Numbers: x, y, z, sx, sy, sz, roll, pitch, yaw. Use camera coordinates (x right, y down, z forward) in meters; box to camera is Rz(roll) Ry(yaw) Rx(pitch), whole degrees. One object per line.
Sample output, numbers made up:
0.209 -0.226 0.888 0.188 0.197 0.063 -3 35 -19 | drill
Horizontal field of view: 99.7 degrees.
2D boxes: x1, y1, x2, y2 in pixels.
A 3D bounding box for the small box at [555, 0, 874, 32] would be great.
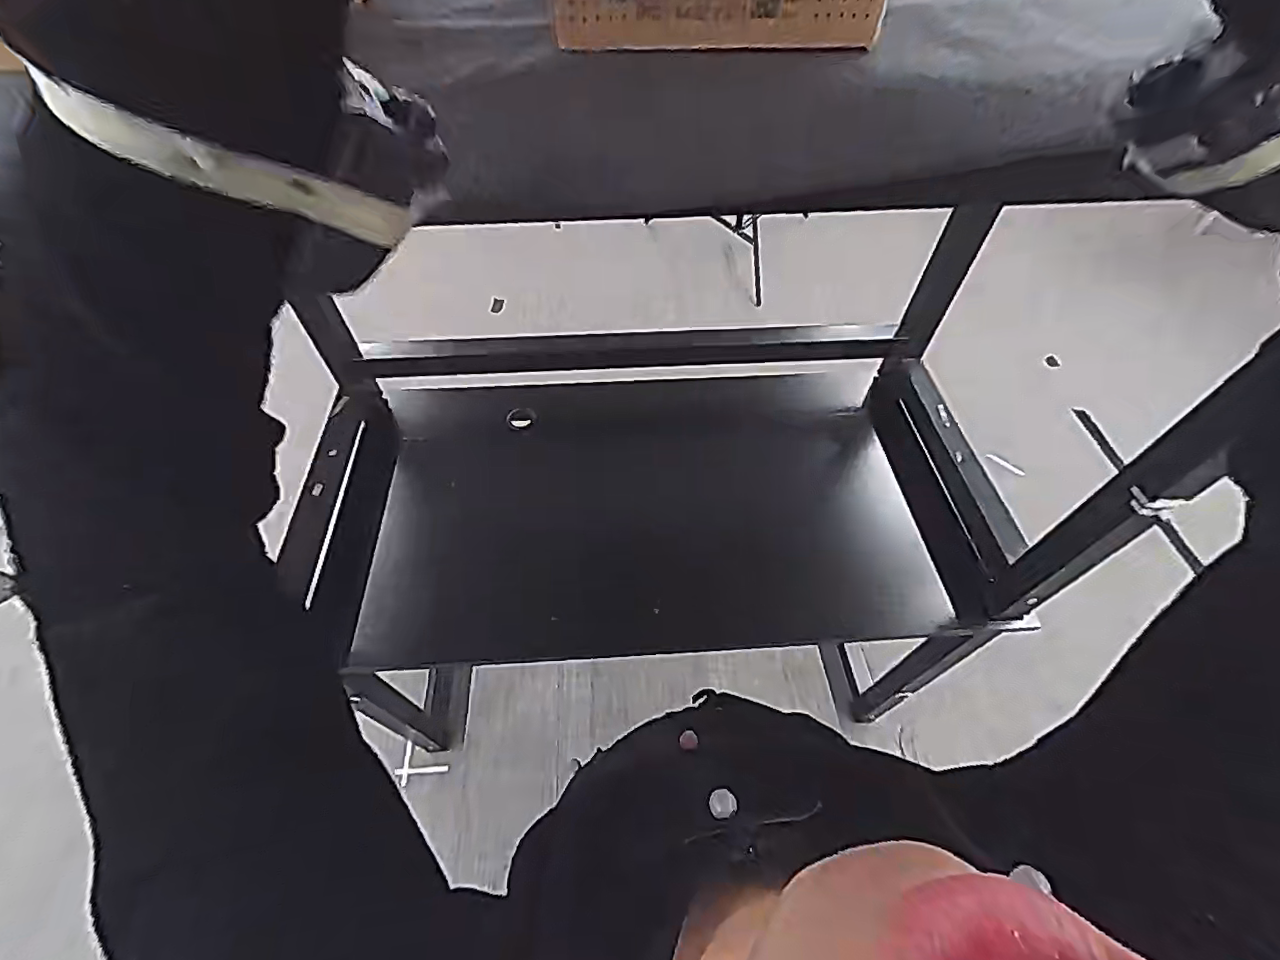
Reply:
0.034 -0.339 0.259 0.168 0.176 0.179 -3 52 -2 | small box
